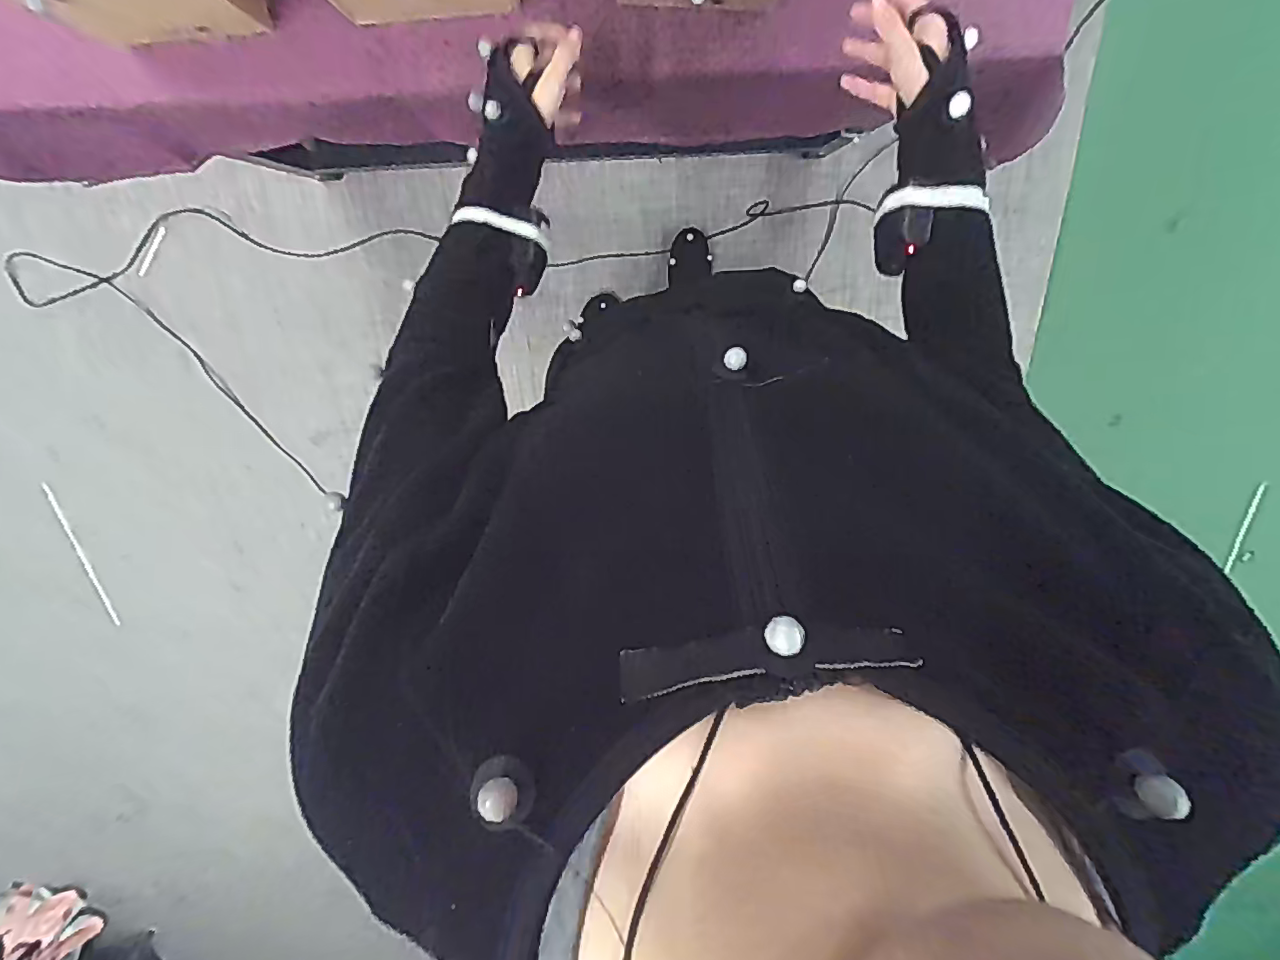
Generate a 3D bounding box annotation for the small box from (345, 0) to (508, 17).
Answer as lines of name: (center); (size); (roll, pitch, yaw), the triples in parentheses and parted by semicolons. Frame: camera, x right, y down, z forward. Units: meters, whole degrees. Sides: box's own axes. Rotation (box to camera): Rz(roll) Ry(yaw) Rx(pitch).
small box: (-0.215, -0.530, 0.459); (0.179, 0.176, 0.168); (-4, 112, 1)
